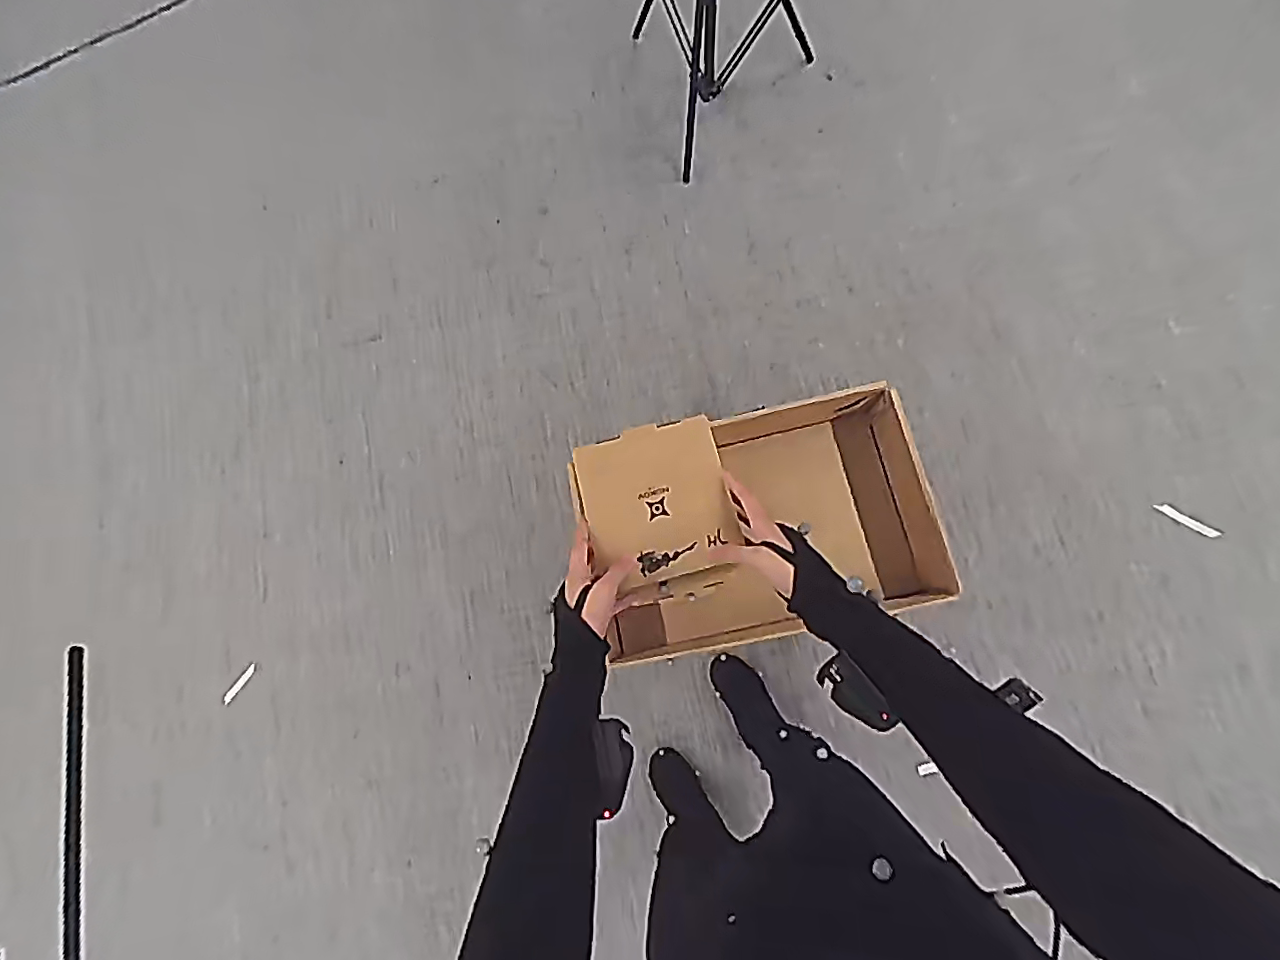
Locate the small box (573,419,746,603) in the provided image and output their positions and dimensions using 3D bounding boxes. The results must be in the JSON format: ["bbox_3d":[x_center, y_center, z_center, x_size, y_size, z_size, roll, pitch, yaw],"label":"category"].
[{"bbox_3d":[0.025,0.049,0.684,0.168,0.176,0.179,-15,74,3],"label":"small box"}]
